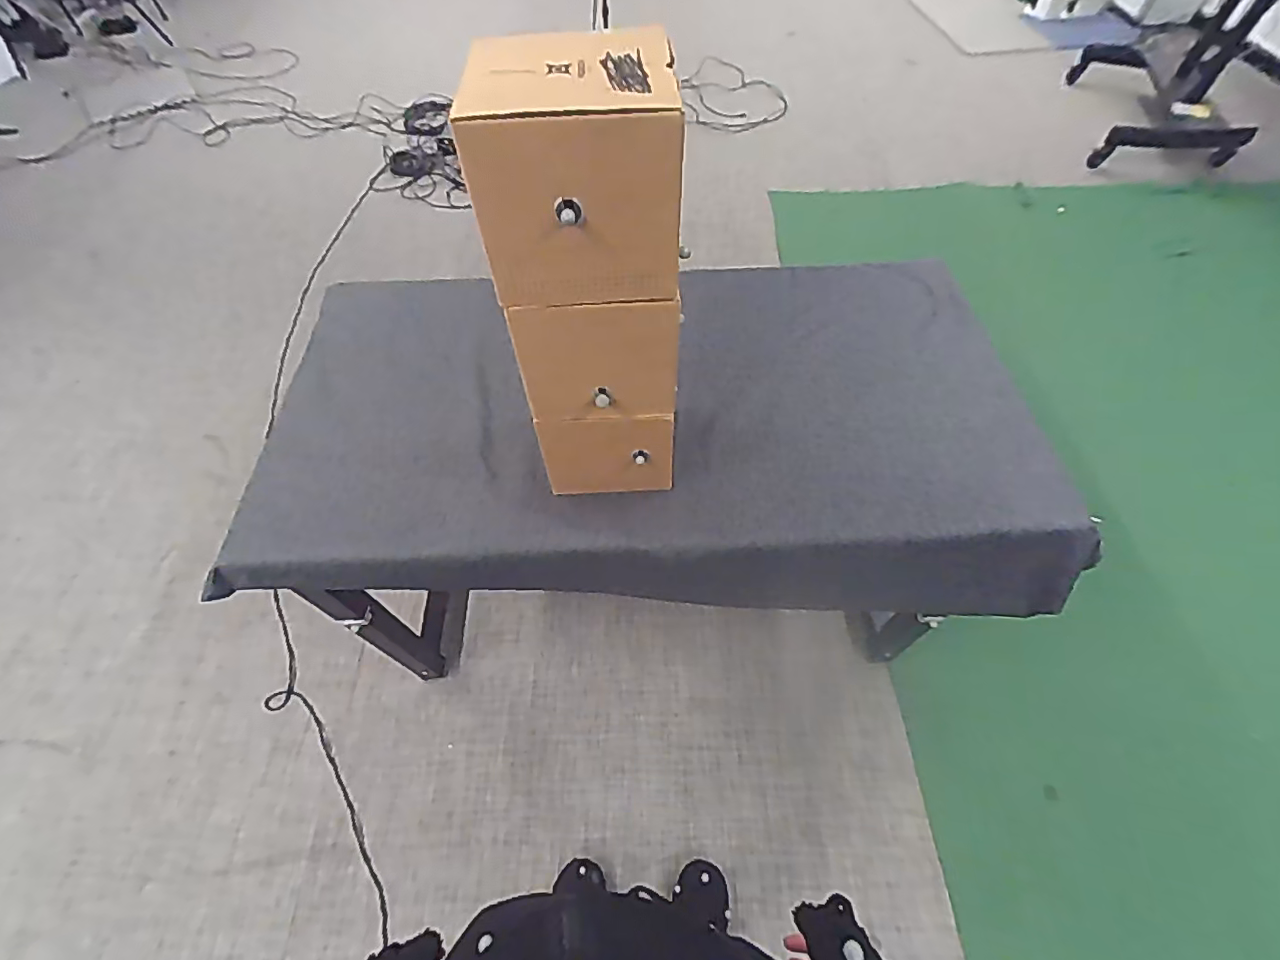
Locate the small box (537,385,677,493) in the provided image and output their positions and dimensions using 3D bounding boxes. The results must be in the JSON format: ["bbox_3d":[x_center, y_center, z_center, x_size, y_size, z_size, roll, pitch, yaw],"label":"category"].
[{"bbox_3d":[-0.043,-0.096,0.777,0.179,0.176,0.168,-4,55,0],"label":"small box"}]

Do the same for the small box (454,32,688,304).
[{"bbox_3d":[-0.053,-0.286,0.510,0.179,0.176,0.168,-3,56,0],"label":"small box"}]

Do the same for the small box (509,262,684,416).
[{"bbox_3d":[-0.047,-0.191,0.645,0.179,0.176,0.168,-3,55,-2],"label":"small box"}]
